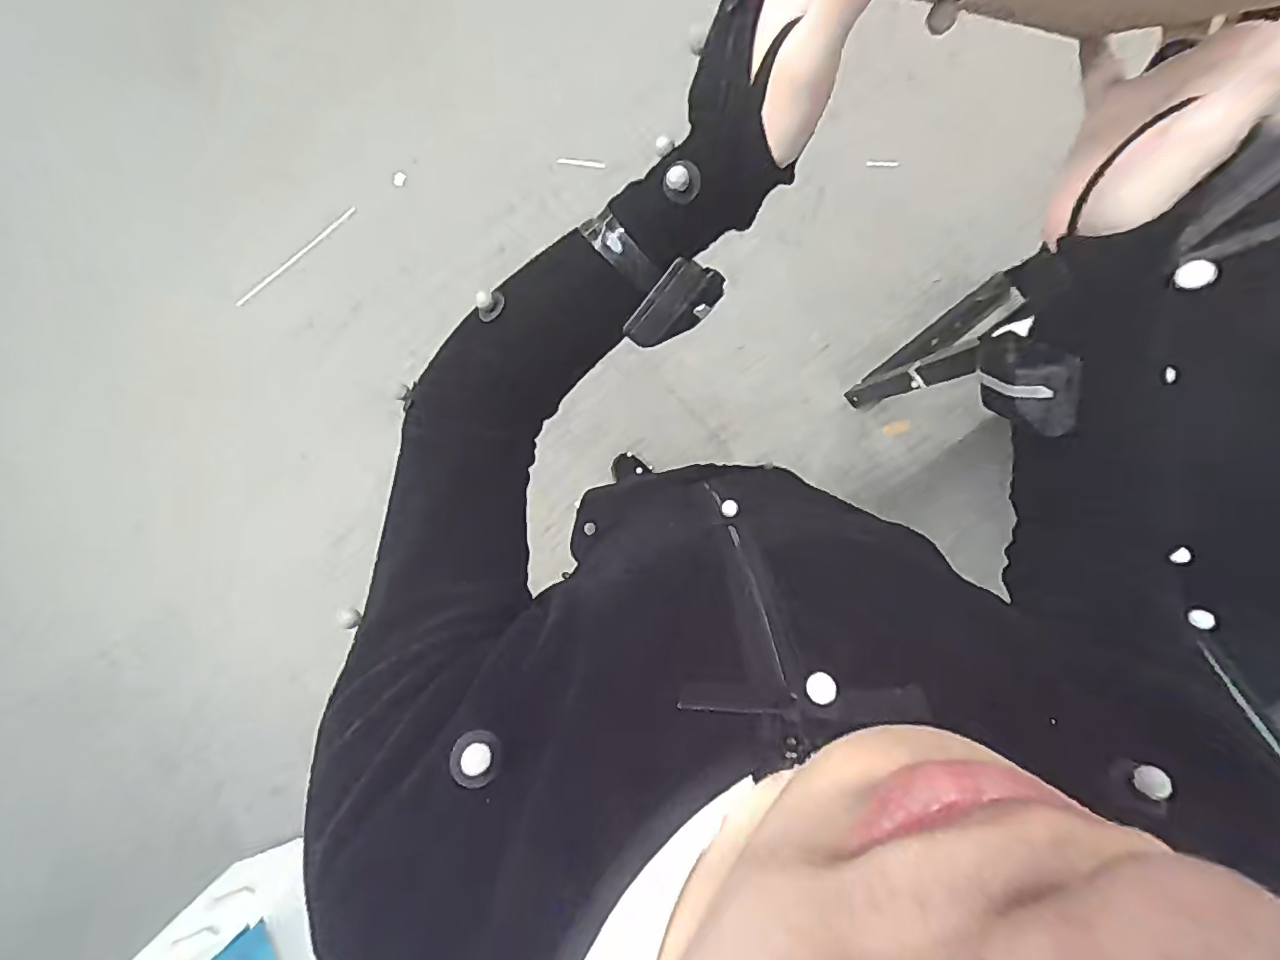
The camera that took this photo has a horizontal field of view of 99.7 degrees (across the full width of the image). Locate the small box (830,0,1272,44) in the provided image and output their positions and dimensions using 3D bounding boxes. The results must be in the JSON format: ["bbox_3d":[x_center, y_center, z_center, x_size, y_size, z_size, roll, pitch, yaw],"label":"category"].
[{"bbox_3d":[0.189,-0.314,0.224,0.168,0.176,0.179,11,124,-1],"label":"small box"}]
